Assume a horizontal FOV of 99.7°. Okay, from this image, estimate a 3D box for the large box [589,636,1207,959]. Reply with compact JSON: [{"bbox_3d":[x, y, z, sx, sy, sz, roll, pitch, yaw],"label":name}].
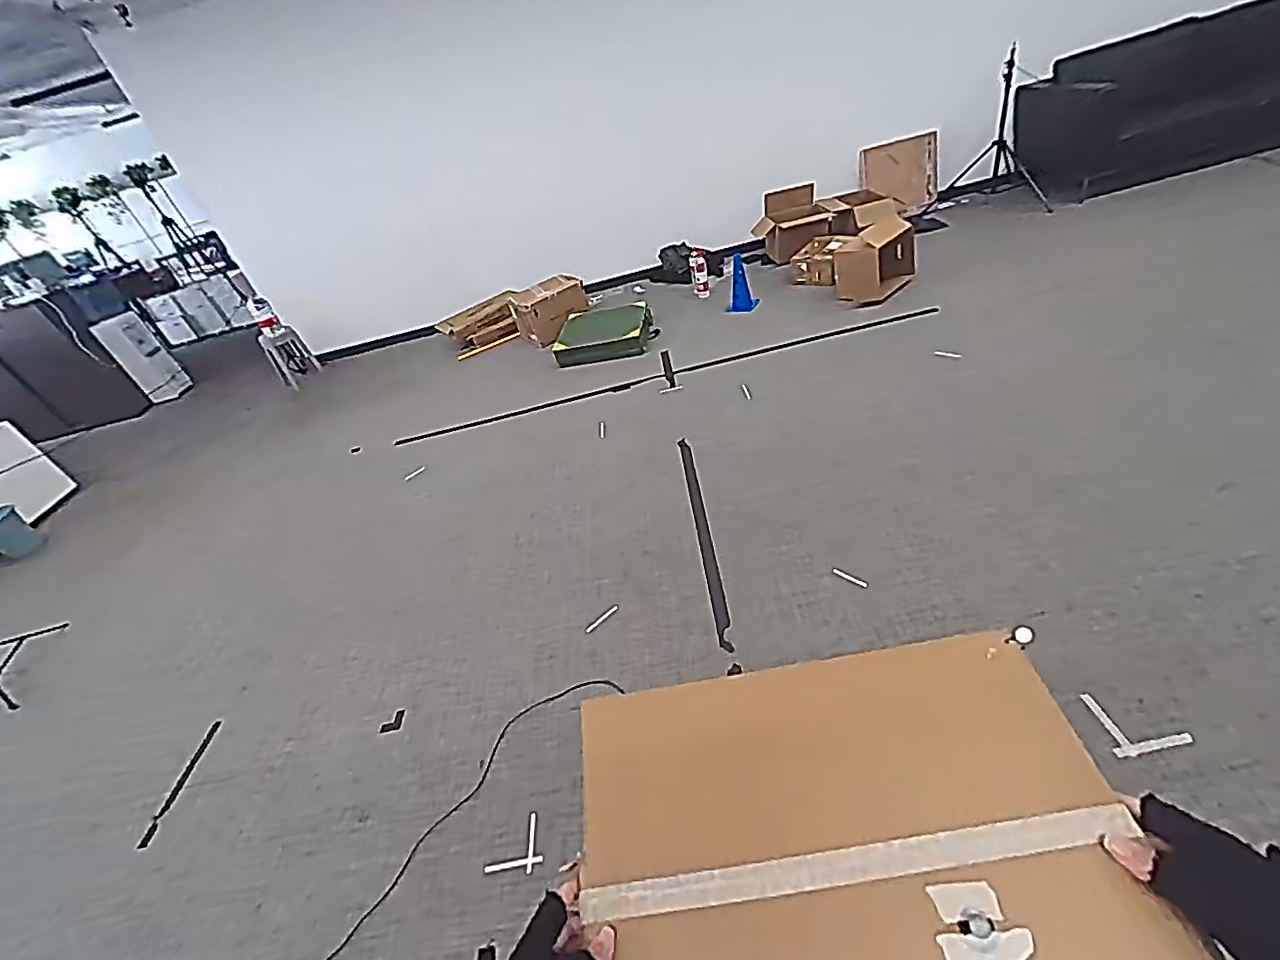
[{"bbox_3d":[0.185,0.397,0.514,0.408,0.320,0.320,-11,45,2],"label":"large box"}]
